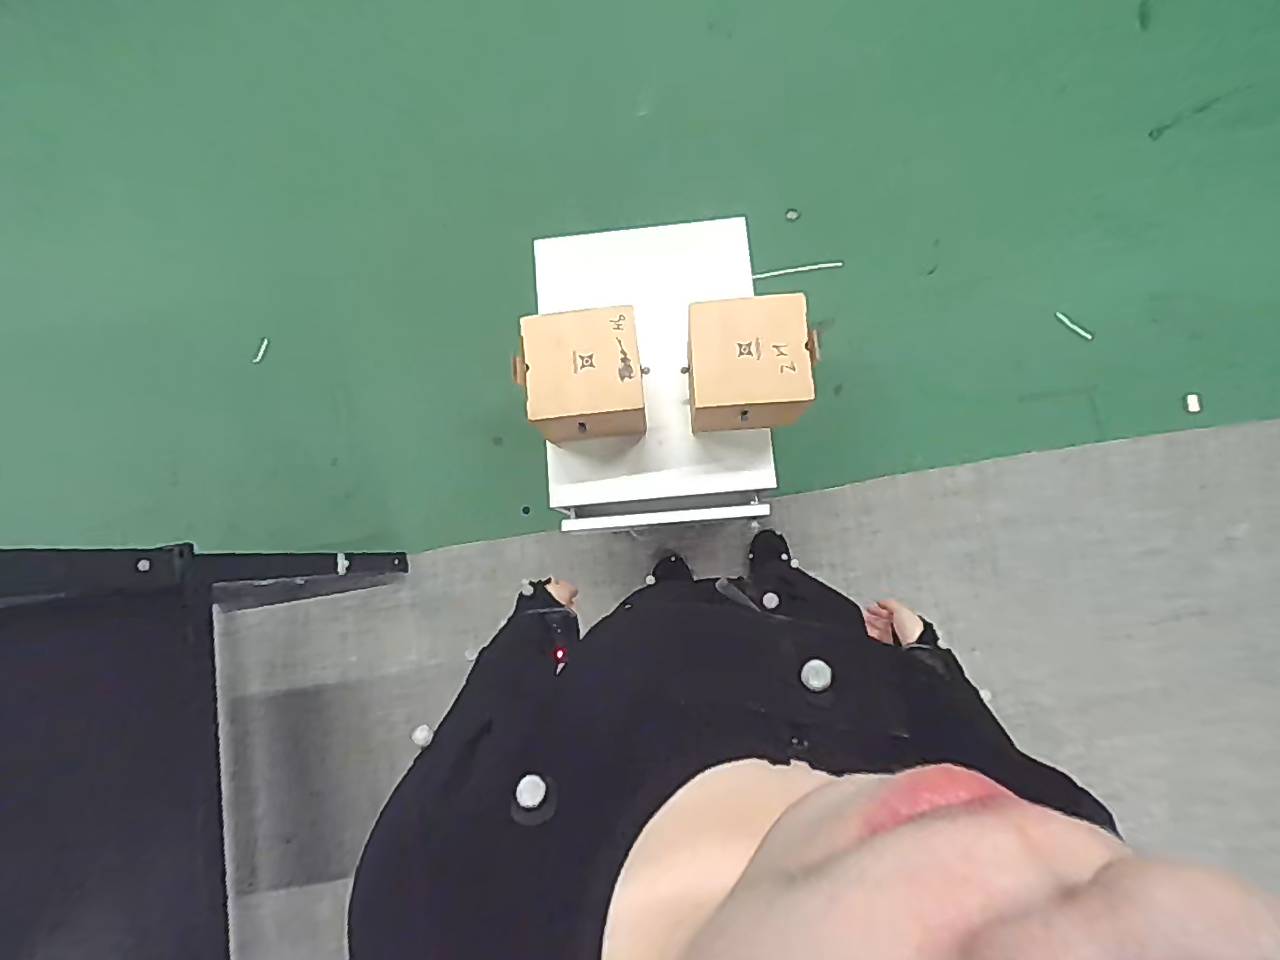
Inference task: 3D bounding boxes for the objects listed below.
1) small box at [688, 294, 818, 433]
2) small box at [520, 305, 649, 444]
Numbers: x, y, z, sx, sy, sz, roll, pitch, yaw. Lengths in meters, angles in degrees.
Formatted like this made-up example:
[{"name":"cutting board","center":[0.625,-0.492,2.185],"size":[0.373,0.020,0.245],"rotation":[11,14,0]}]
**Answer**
[{"name":"small box","center":[0.168,-0.175,0.857],"size":[0.179,0.176,0.168],"rotation":[-4,82,3]},{"name":"small box","center":[-0.081,-0.160,0.872],"size":[0.179,0.176,0.168],"rotation":[-6,82,2]}]
